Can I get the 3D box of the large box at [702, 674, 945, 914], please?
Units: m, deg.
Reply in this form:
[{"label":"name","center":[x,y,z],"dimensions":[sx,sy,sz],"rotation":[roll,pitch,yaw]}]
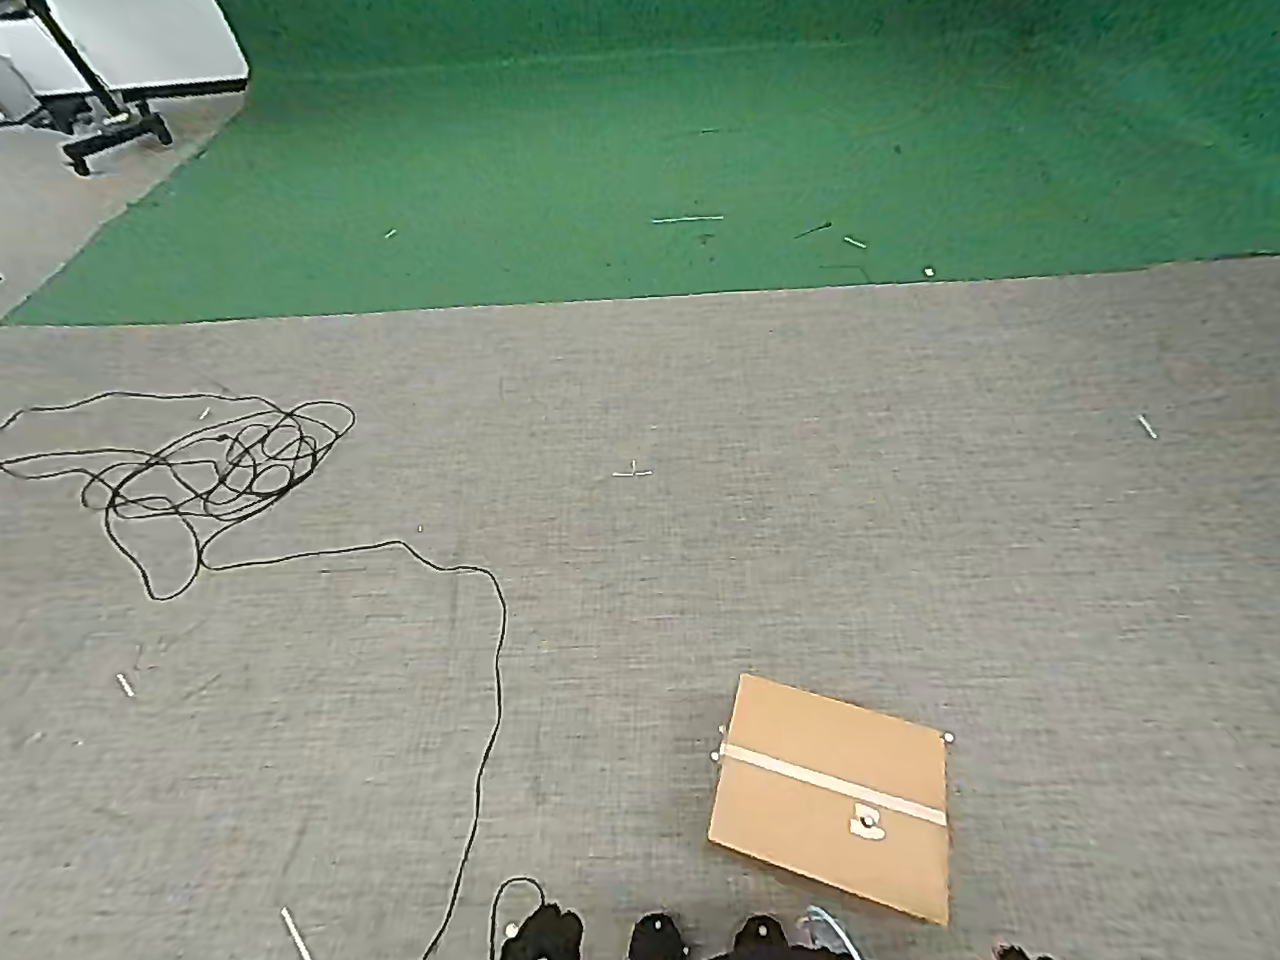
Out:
[{"label":"large box","center":[0.363,0.656,1.139],"dimensions":[0.408,0.320,0.320],"rotation":[13,55,12]}]
